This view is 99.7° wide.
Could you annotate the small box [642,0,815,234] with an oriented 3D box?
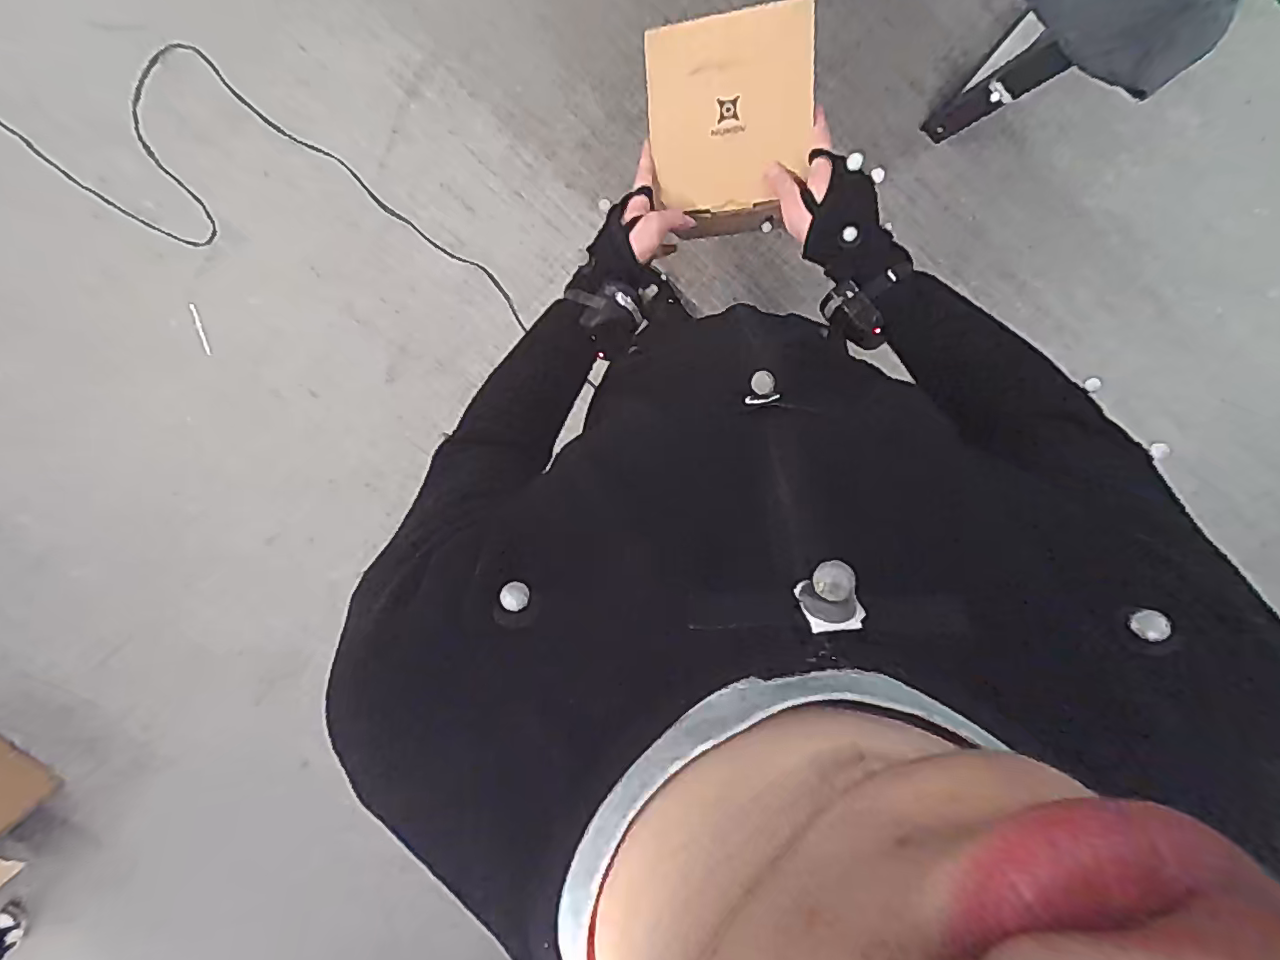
[{"bbox_3d":[0.104,-0.384,0.604,0.168,0.176,0.179,-1,104,13],"label":"small box"}]
